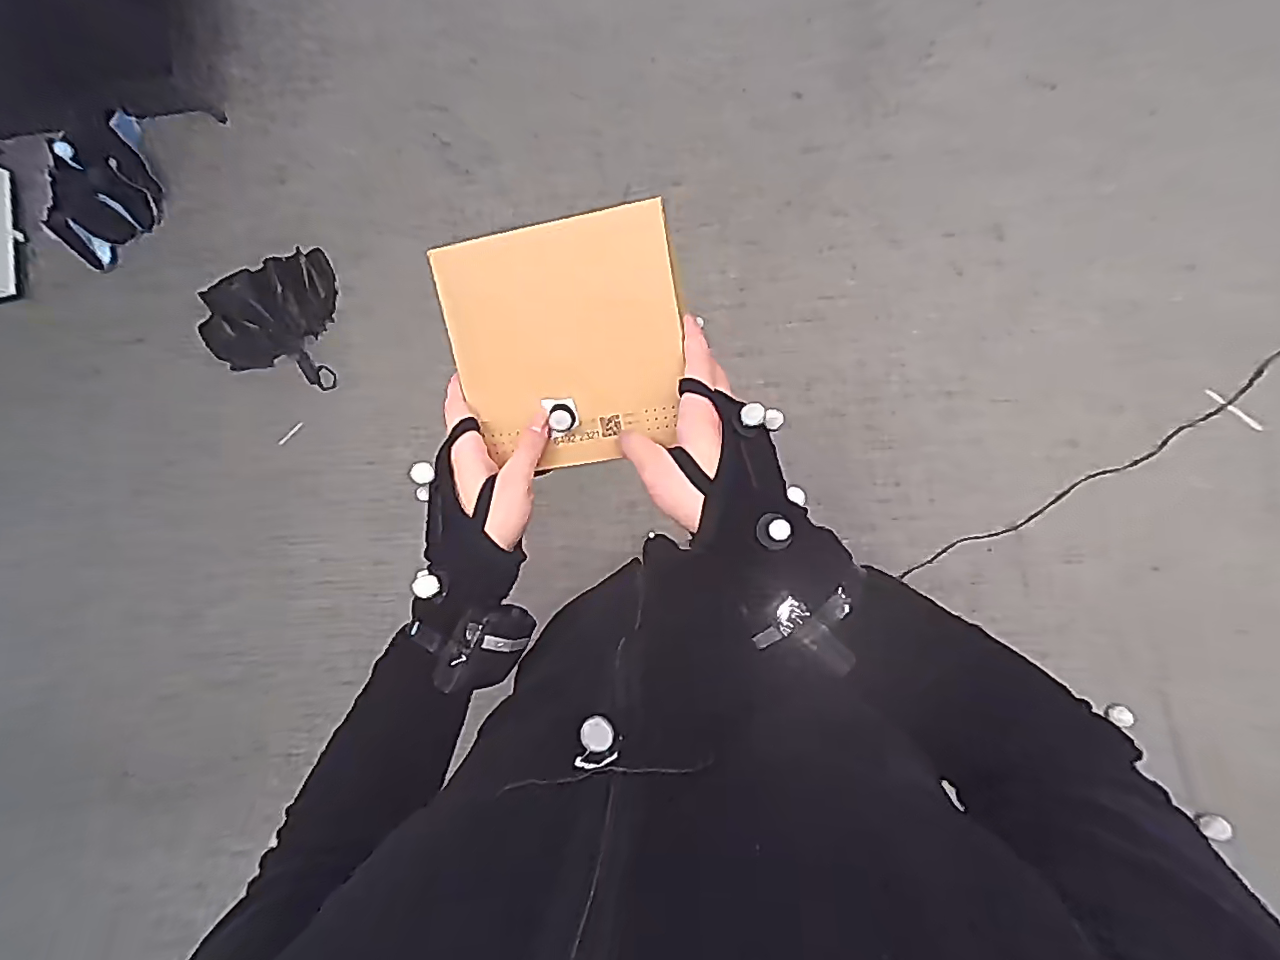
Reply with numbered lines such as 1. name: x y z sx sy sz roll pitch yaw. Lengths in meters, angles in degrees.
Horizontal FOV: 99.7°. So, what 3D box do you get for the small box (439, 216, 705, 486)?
1. small box: -0.040 -0.100 0.465 0.168 0.179 0.176 -11 102 8
